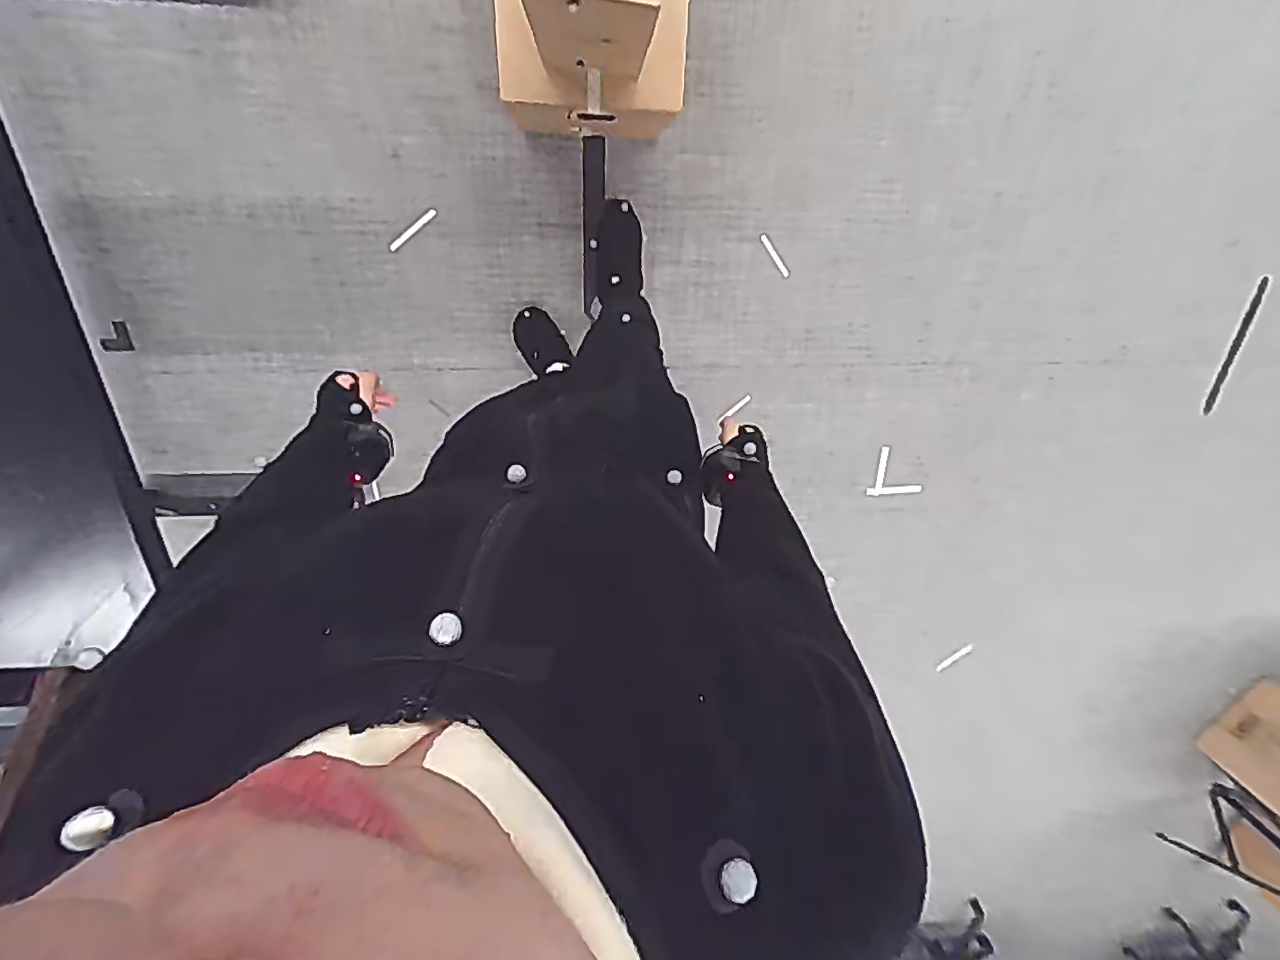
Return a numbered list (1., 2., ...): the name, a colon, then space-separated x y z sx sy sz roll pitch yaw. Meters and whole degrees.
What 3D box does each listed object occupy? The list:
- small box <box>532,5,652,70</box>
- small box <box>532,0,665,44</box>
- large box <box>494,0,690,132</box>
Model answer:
1. small box: -0.062 -0.724 0.773 0.168 0.176 0.179 4 115 -6
2. small box: -0.047 -0.652 0.627 0.168 0.176 0.179 5 113 -6
3. large box: -0.085 -0.883 0.968 0.320 0.320 0.408 -1 114 -6
